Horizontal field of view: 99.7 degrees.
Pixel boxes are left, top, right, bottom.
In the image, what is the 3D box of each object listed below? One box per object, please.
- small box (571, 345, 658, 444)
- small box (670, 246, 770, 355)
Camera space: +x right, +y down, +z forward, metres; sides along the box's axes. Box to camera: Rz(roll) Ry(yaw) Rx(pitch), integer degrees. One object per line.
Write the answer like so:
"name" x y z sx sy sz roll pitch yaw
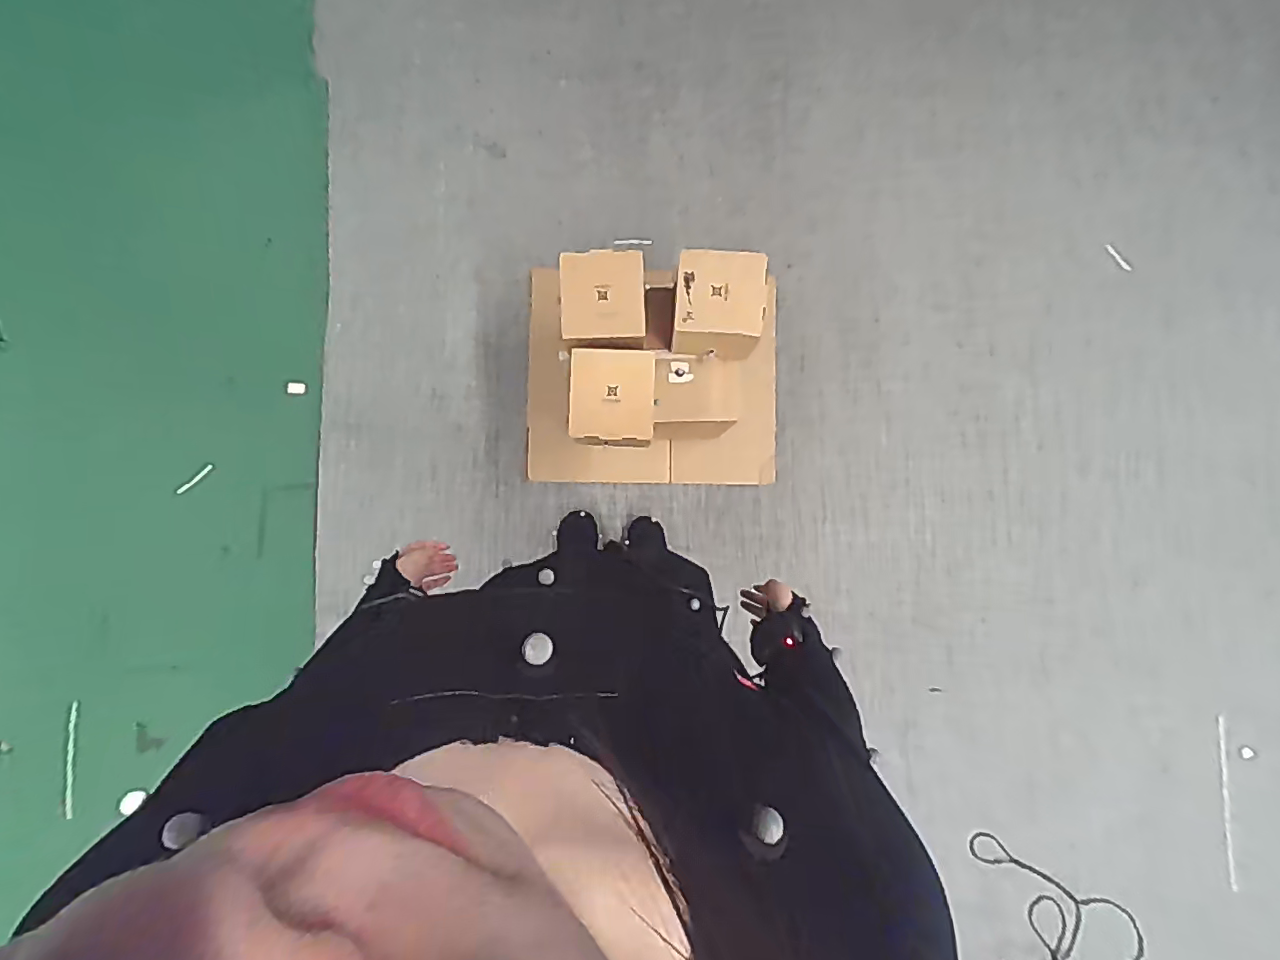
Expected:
"small box" -0.052 -0.170 1.122 0.168 0.176 0.179 1 90 -1
"small box" 0.160 -0.365 1.130 0.179 0.176 0.168 5 88 0
